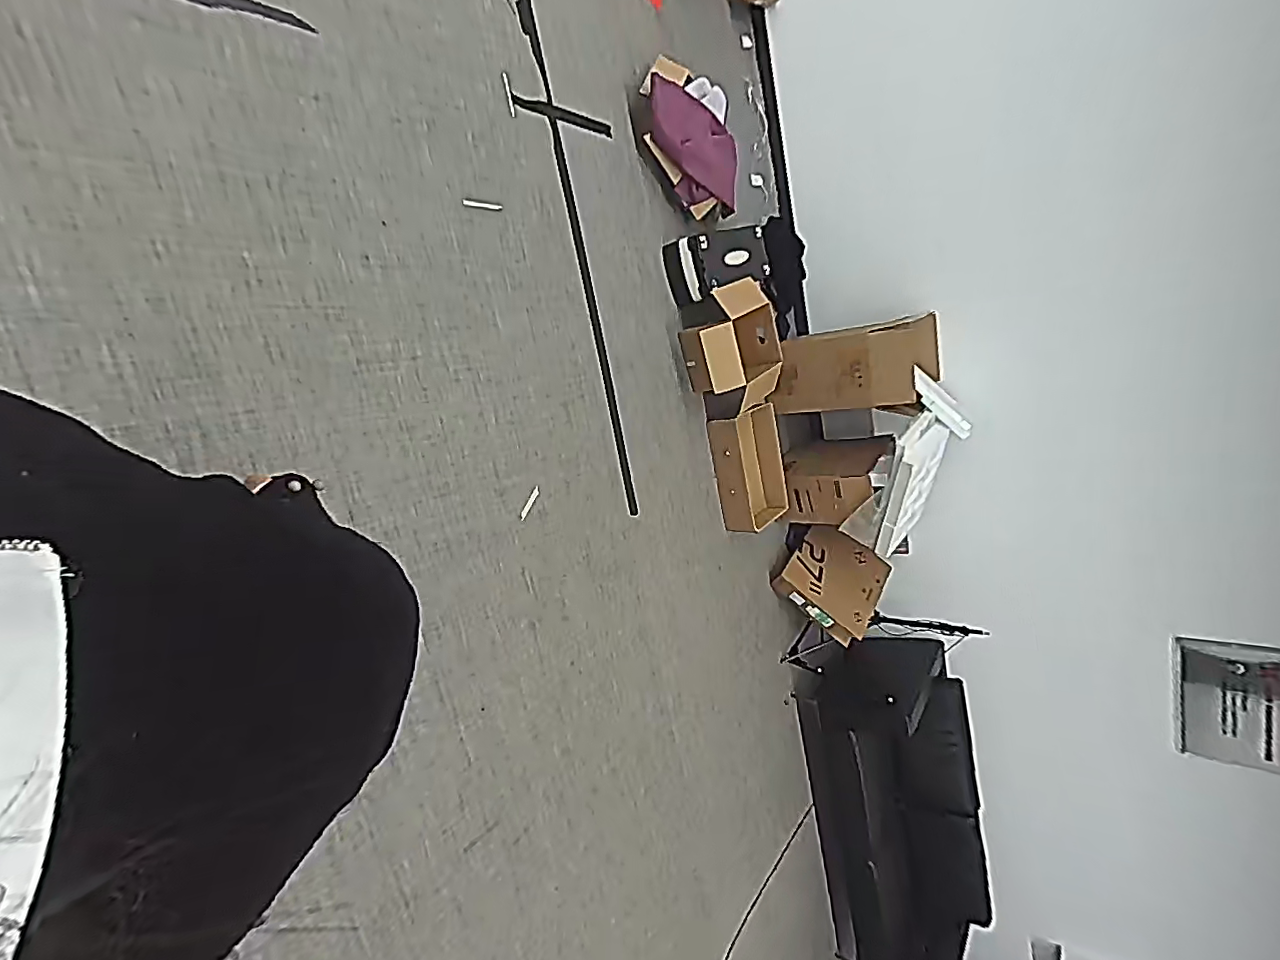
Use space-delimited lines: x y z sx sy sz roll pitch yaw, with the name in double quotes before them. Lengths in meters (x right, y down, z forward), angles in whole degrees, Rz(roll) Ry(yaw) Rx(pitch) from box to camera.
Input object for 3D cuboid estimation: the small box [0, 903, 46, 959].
"small box" -0.761 0.607 0.581 0.168 0.176 0.179 -20 101 -50
